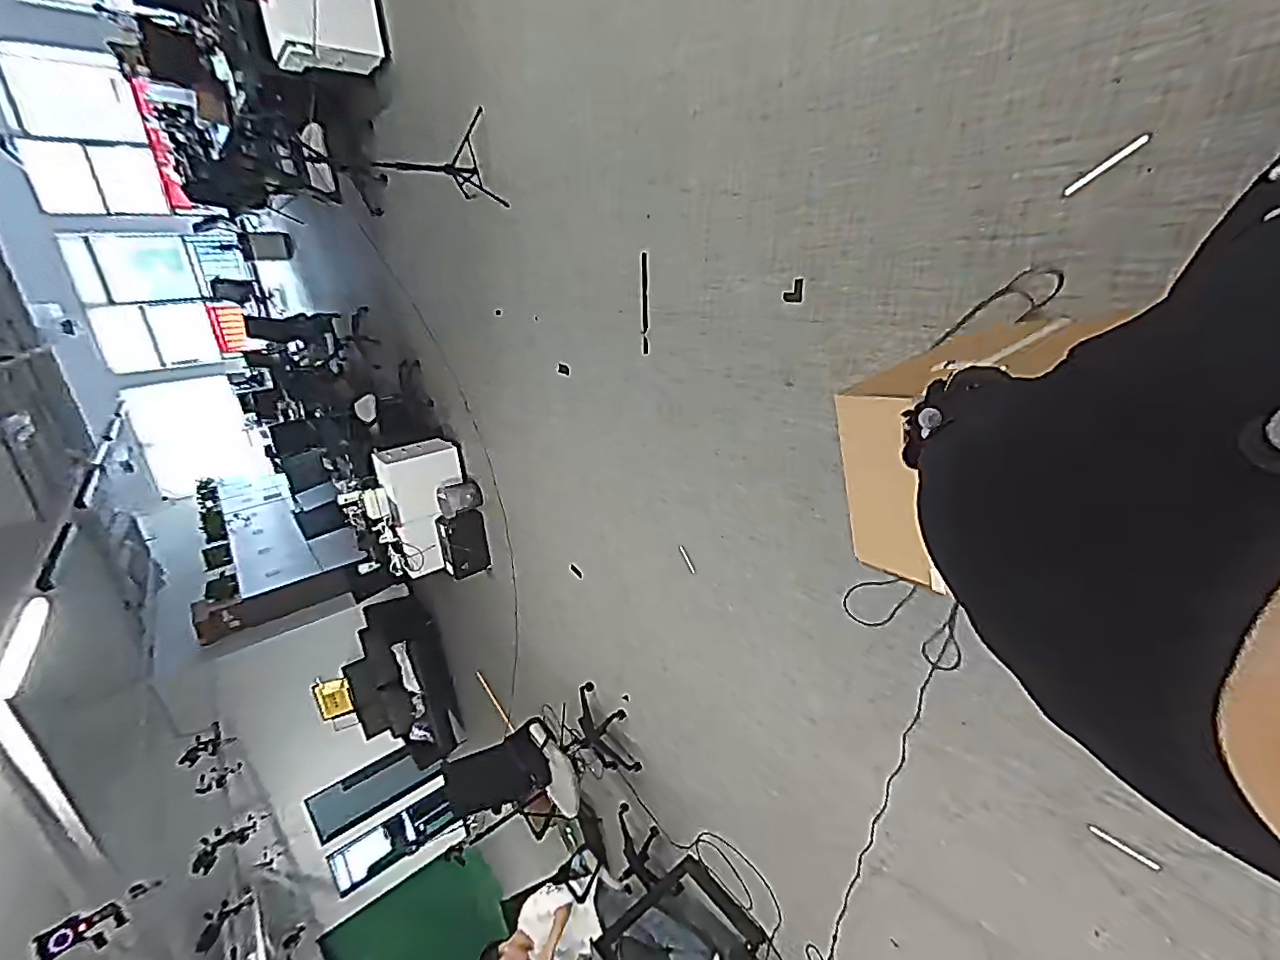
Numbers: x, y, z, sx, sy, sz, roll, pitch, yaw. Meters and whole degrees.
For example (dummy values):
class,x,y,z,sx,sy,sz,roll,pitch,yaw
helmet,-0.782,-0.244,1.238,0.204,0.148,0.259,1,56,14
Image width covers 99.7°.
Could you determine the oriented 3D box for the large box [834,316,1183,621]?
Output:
class,x,y,z,sx,sy,sz,roll,pitch,yaw
large box,0.583,-0.046,0.866,0.320,0.408,0.320,16,126,59
